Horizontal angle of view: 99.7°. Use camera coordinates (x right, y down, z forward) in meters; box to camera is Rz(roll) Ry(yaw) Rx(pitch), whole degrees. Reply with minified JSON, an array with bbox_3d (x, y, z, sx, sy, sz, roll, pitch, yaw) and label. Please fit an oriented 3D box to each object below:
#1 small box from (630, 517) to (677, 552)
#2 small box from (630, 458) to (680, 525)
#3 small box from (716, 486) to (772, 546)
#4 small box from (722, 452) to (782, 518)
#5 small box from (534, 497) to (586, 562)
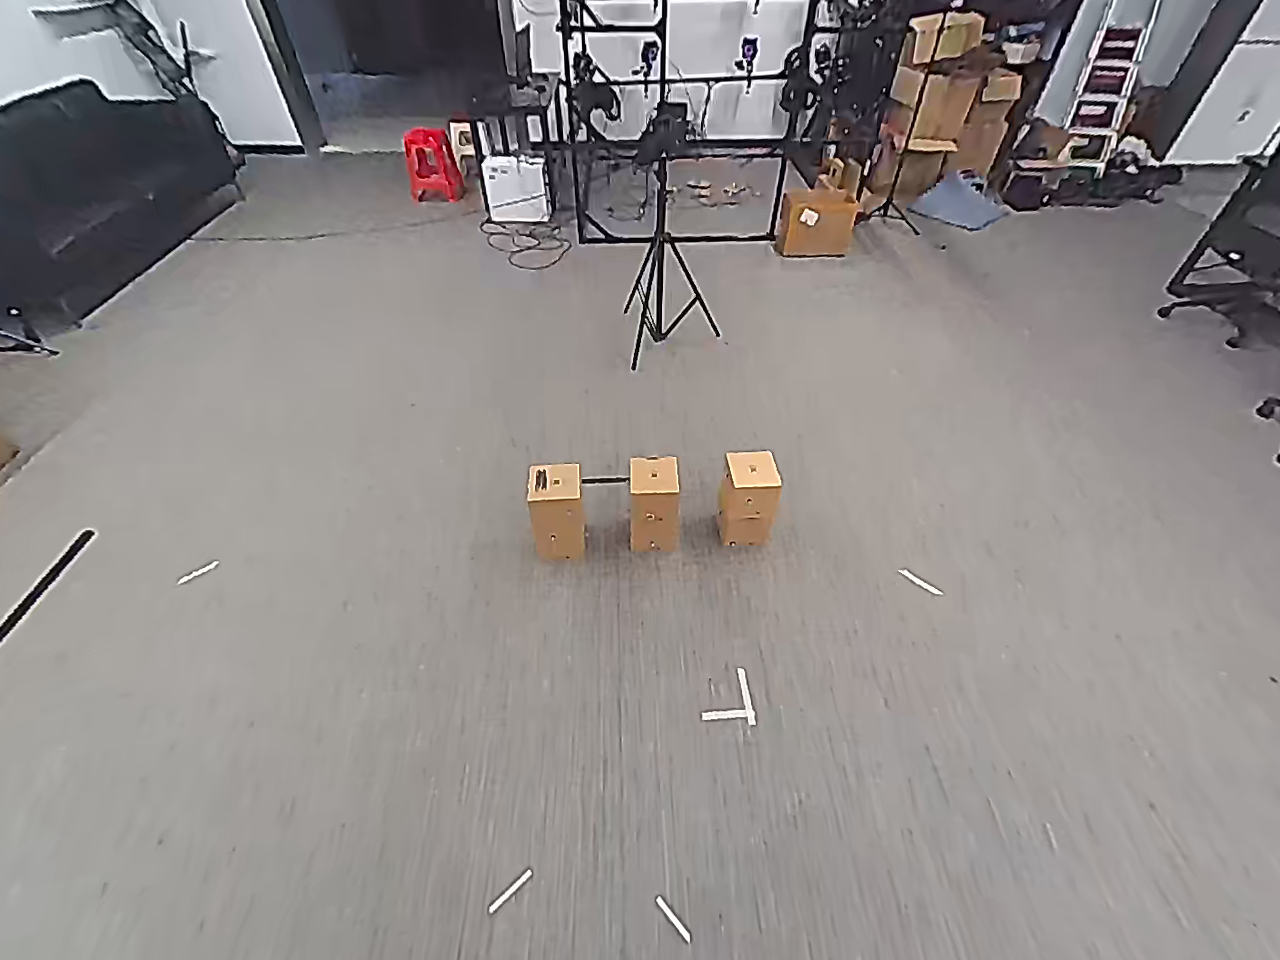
[{"bbox_3d":[0.047,0.150,2.014,0.168,0.176,0.179,-1,46,-1],"label":"small box"},{"bbox_3d":[0.050,0.040,1.893,0.168,0.176,0.179,-1,45,-1],"label":"small box"},{"bbox_3d":[0.387,0.136,2.031,0.168,0.176,0.179,-3,45,-4],"label":"small box"},{"bbox_3d":[0.391,0.022,1.916,0.168,0.176,0.179,-3,45,-3],"label":"small box"},{"bbox_3d":[-0.288,0.182,1.985,0.168,0.176,0.179,-2,45,-2],"label":"small box"}]
